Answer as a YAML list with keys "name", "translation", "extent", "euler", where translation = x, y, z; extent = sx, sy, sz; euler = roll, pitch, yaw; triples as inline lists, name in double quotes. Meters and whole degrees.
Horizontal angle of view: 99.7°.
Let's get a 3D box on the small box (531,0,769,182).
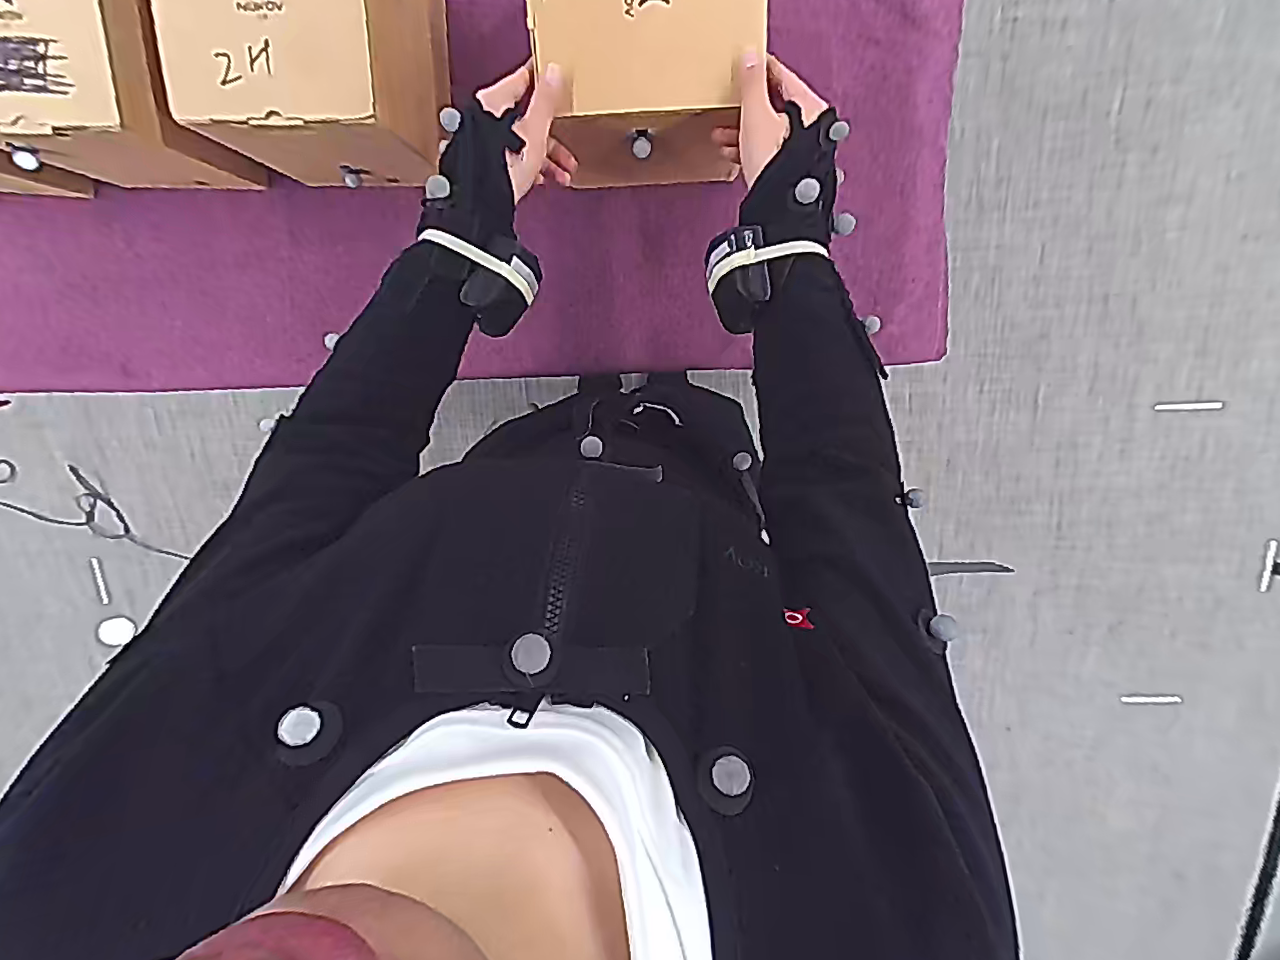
- name: "small box"
  translation: [0.009, -0.376, 0.470]
  extent: [0.179, 0.176, 0.168]
  euler: [-1, 102, 4]
